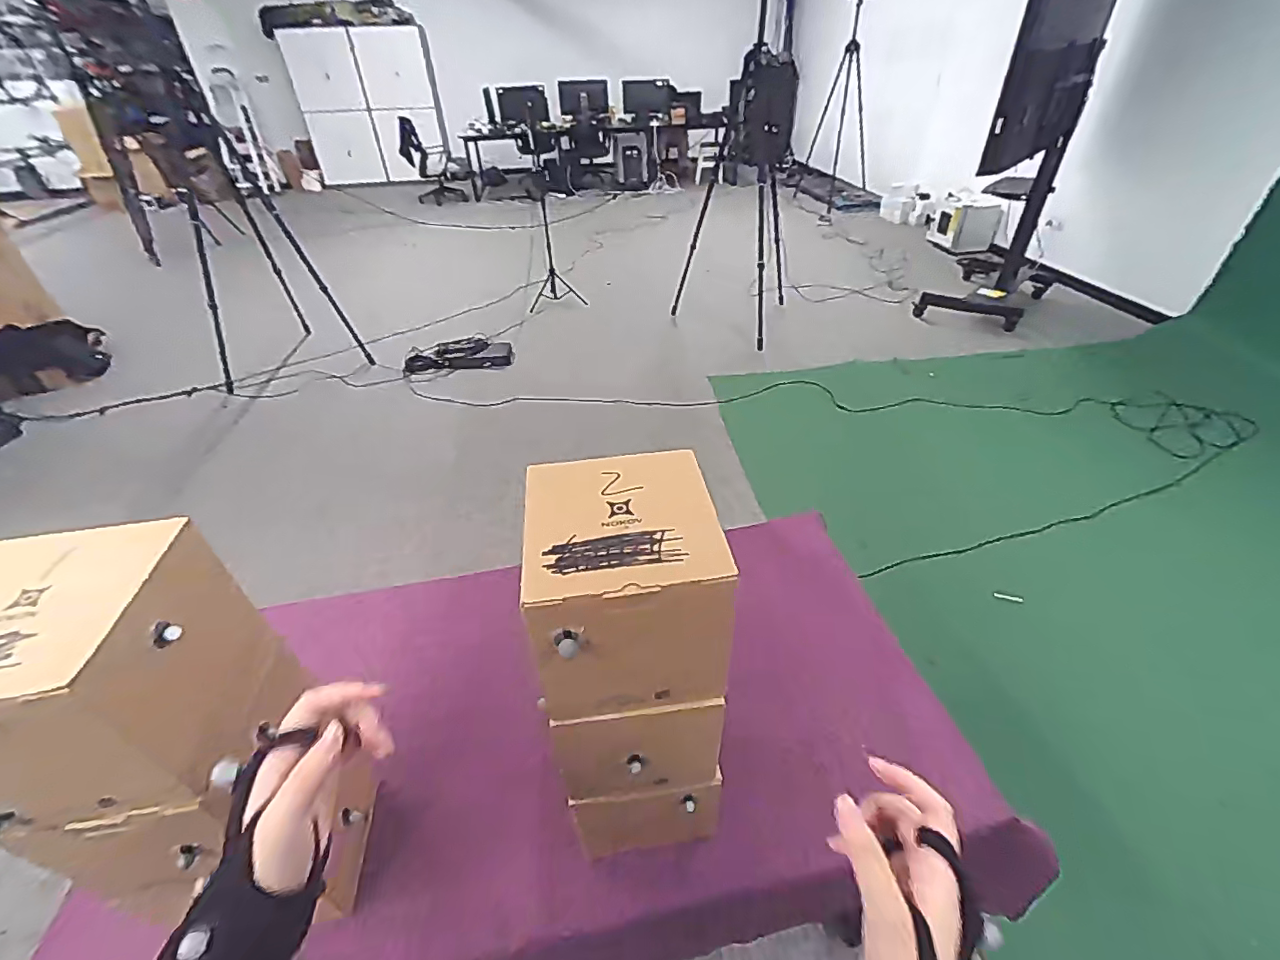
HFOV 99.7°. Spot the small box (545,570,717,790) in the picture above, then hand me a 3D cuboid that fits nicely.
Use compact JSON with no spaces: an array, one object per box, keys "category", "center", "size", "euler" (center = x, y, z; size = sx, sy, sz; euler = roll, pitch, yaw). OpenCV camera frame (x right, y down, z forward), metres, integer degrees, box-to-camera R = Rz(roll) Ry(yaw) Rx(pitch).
[{"category":"small box","center":[-0.010,0.229,0.614],"size":[0.168,0.176,0.179],"euler":[-5,38,-3]}]

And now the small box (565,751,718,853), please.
[{"category":"small box","center":[-0.003,0.361,0.711],"size":[0.179,0.176,0.168],"euler":[-6,38,-5]}]

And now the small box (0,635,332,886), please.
[{"category":"small box","center":[-0.454,0.292,0.562],"size":[0.168,0.176,0.179],"euler":[-6,38,-5]}]

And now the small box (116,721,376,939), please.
[{"category":"small box","center":[-0.448,0.424,0.659],"size":[0.179,0.176,0.168],"euler":[-7,38,-6]}]

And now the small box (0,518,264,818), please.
[{"category":"small box","center":[-0.467,0.161,0.464],"size":[0.168,0.176,0.179],"euler":[-8,37,-7]}]
